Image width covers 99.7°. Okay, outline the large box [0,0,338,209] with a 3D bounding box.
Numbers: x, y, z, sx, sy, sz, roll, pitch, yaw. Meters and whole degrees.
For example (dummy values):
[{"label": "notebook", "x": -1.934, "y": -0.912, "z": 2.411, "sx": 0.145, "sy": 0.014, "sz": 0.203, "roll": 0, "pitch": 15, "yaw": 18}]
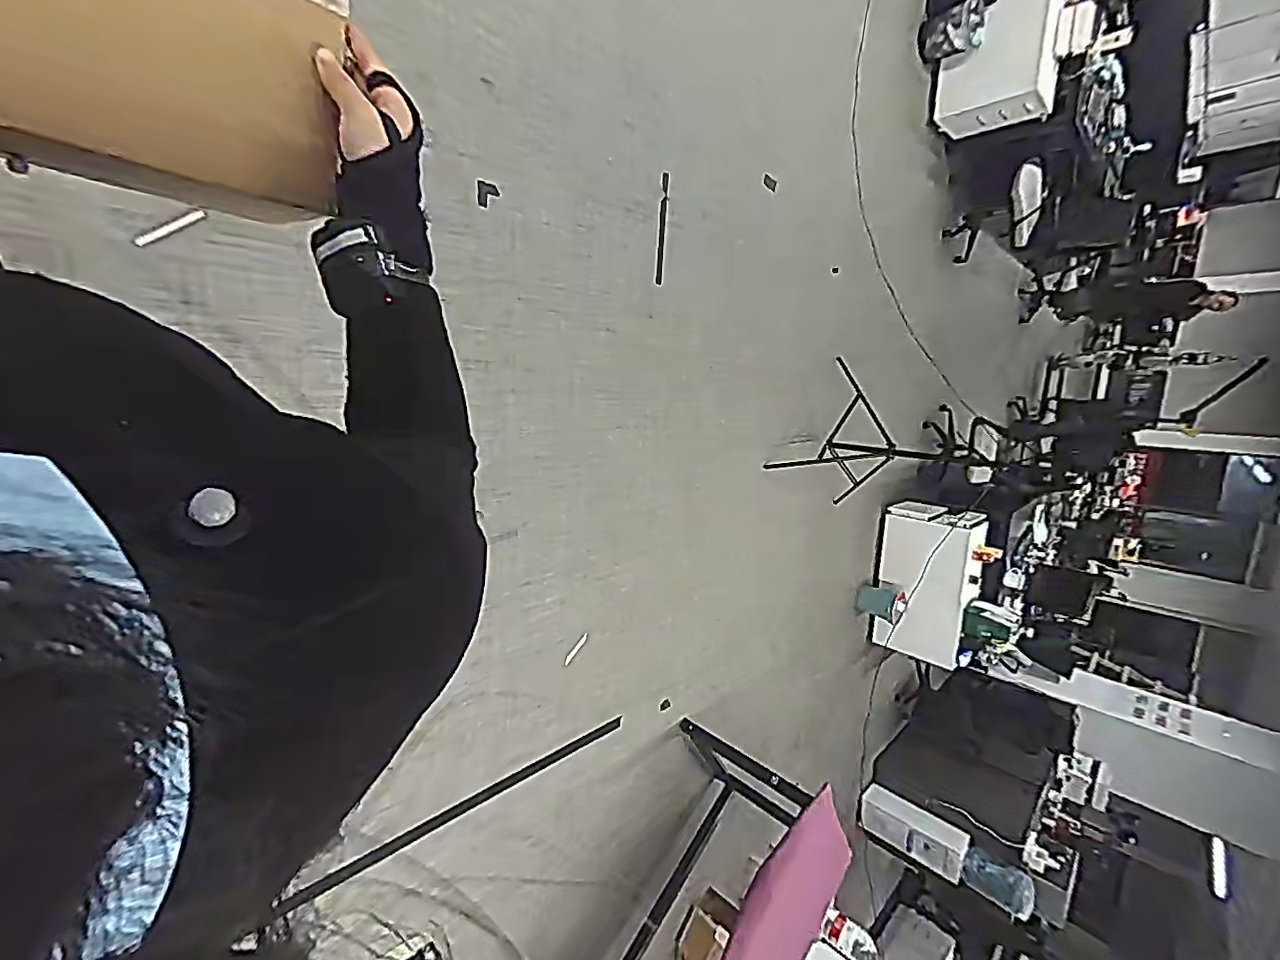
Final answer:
[{"label": "large box", "x": -0.485, "y": -0.427, "z": 0.410, "sx": 0.408, "sy": 0.320, "sz": 0.320, "roll": -2, "pitch": 108, "yaw": -42}]
